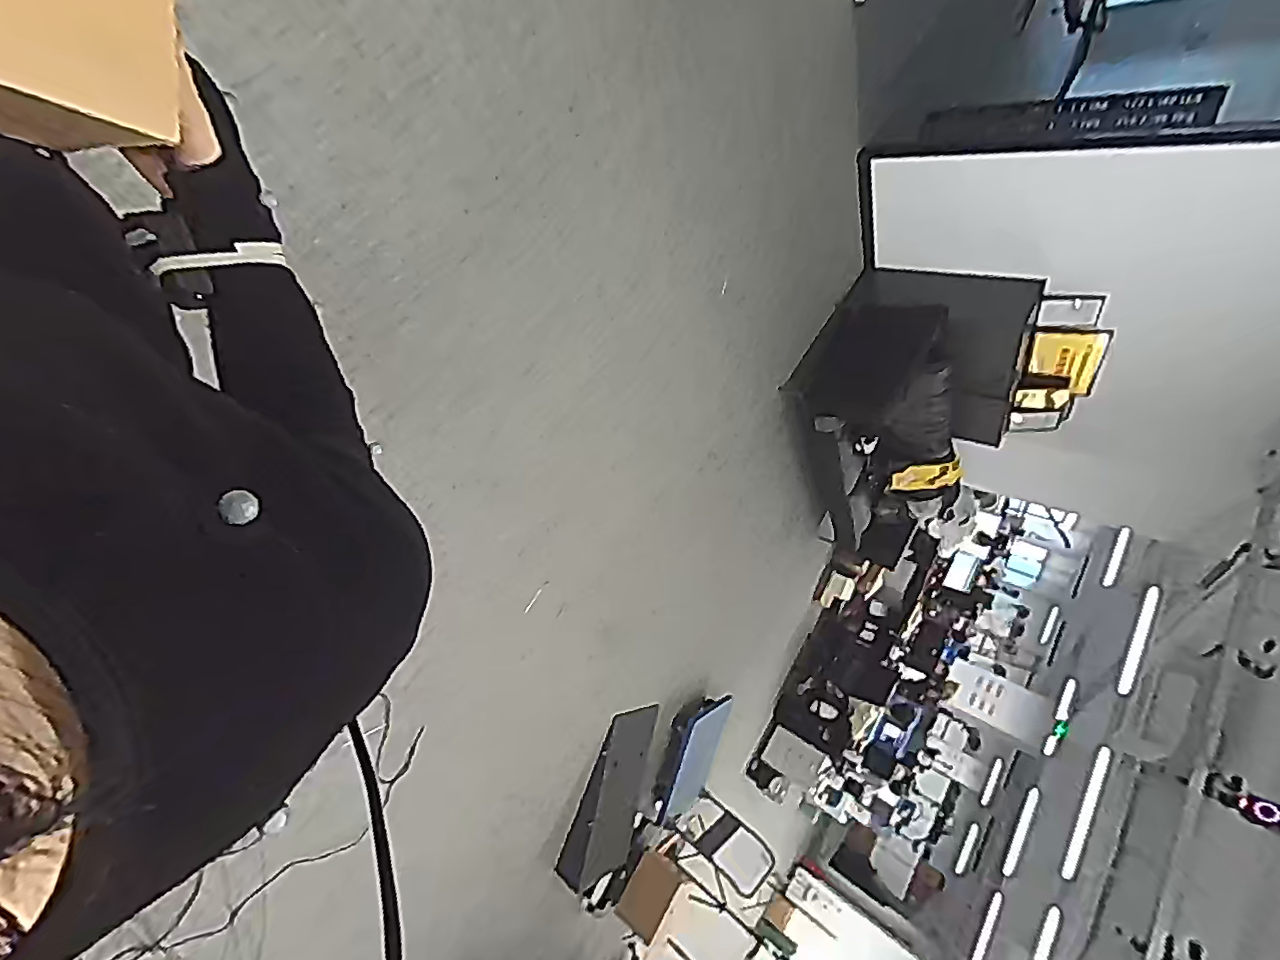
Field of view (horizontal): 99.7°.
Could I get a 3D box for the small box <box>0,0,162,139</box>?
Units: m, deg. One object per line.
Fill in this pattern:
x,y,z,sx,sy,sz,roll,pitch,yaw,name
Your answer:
-0.370,-0.290,0.260,0.168,0.176,0.179,-13,115,-61,small box
